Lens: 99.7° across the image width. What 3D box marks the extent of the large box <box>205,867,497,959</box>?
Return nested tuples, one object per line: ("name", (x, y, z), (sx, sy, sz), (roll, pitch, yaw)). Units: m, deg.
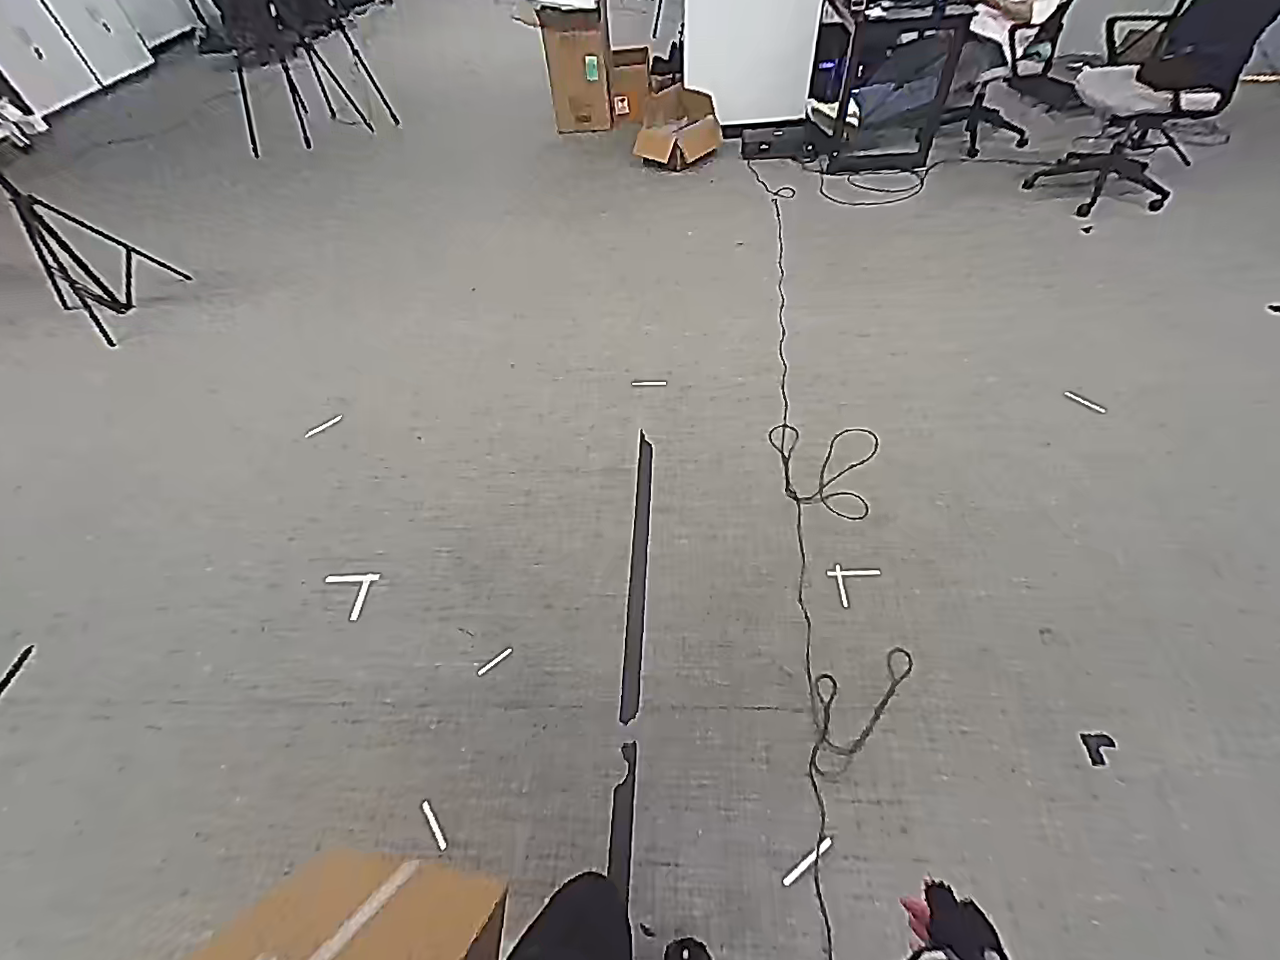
("large box", (-0.406, 0.761, 0.652), (0.320, 0.408, 0.320), (4, 80, 7))
